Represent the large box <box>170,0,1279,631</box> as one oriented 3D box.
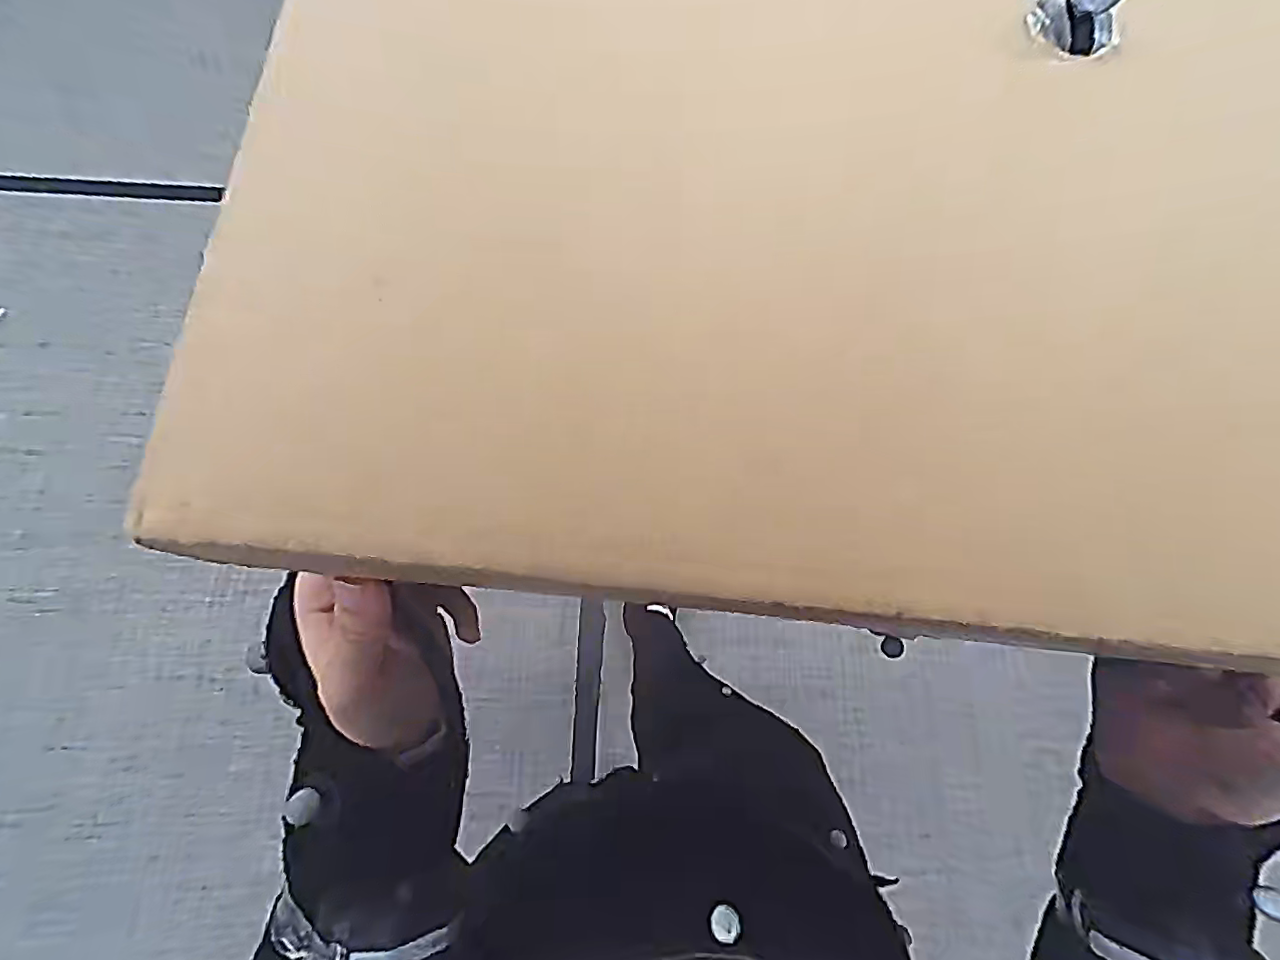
[{"bbox_3d":[0.097,-0.100,0.296,0.408,0.320,0.320,6,79,-4],"label":"large box"}]
